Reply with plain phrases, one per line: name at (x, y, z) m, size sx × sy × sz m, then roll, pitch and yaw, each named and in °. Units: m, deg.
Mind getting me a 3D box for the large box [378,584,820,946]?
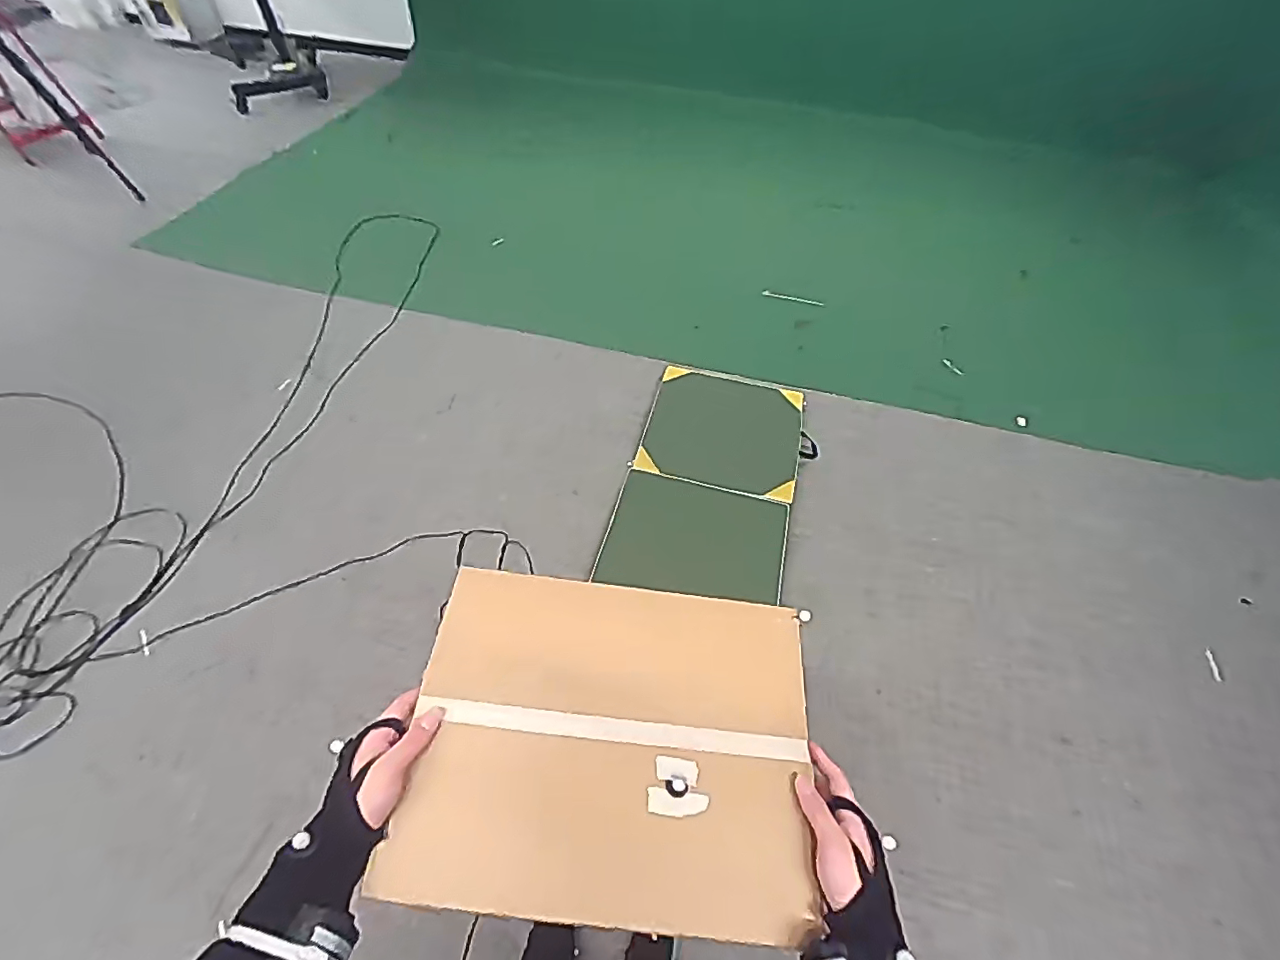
large box at (-0.038, 0.354, 0.683) m, size 0.408 × 0.320 × 0.320 m, roll 7°, pitch 55°, yaw -1°
